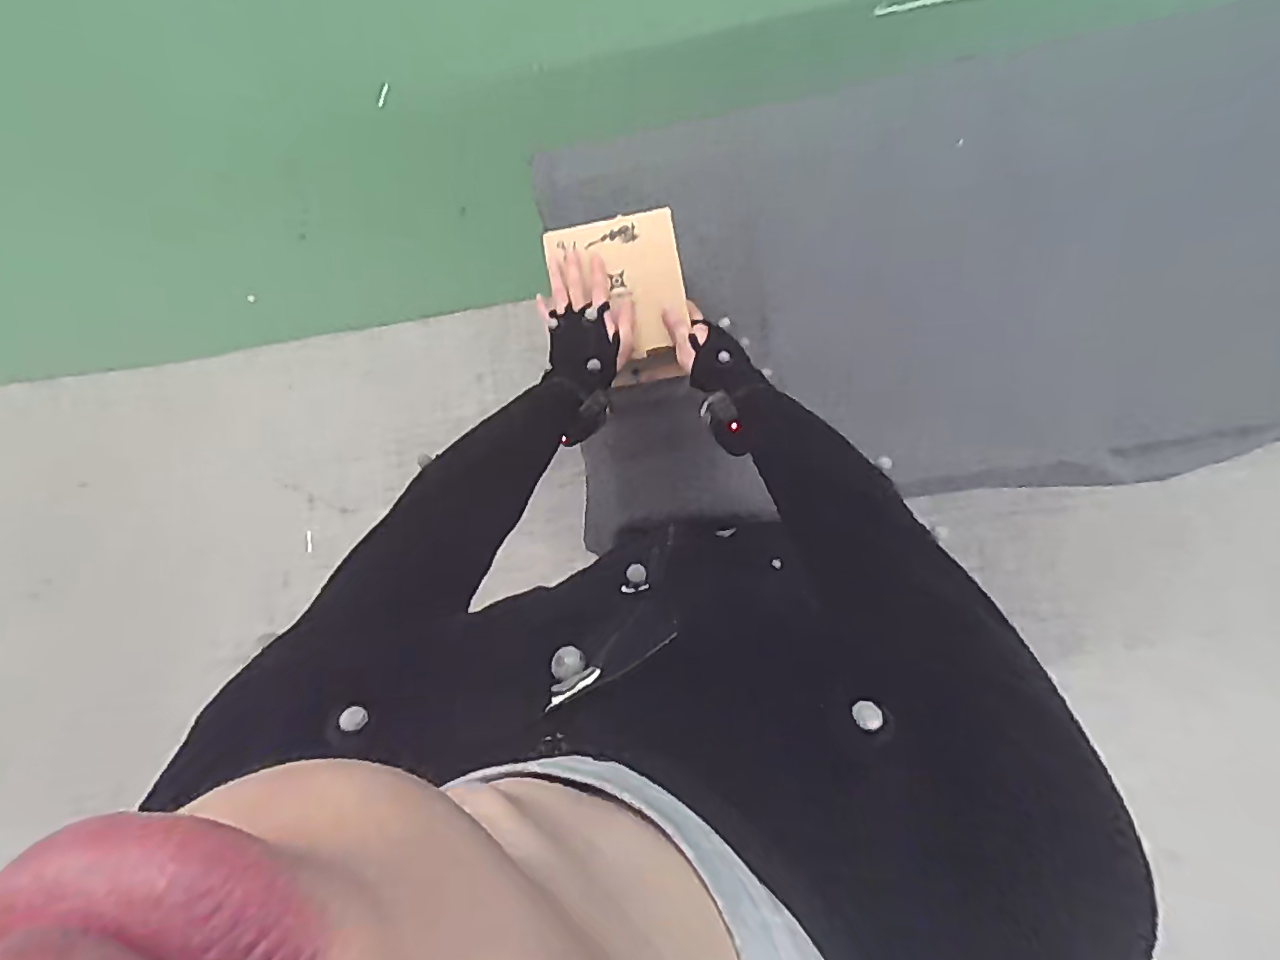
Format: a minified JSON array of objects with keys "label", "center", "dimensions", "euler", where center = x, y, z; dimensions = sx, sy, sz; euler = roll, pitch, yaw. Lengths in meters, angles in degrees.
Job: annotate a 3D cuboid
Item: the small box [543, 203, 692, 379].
[{"label":"small box","center":[-0.023,-0.243,0.746],"dimensions":[0.168,0.176,0.179],"euler":[-10,90,2]}]
